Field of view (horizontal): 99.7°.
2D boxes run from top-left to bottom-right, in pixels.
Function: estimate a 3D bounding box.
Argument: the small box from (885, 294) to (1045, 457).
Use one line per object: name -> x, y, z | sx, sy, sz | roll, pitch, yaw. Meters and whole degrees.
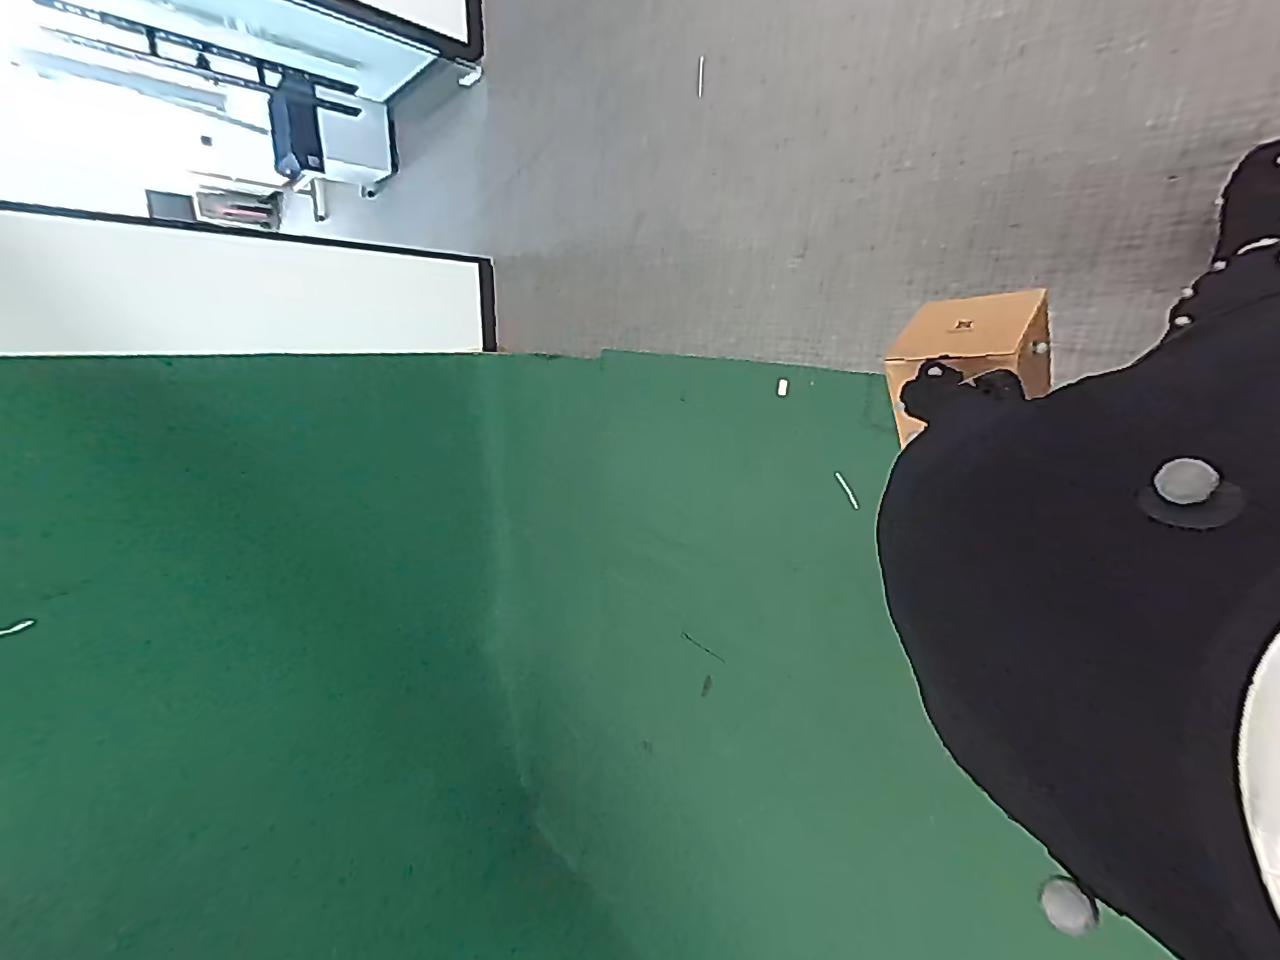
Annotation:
small box -> 0.501, -0.158, 0.826 | 0.168, 0.179, 0.176 | 8, 136, 46
